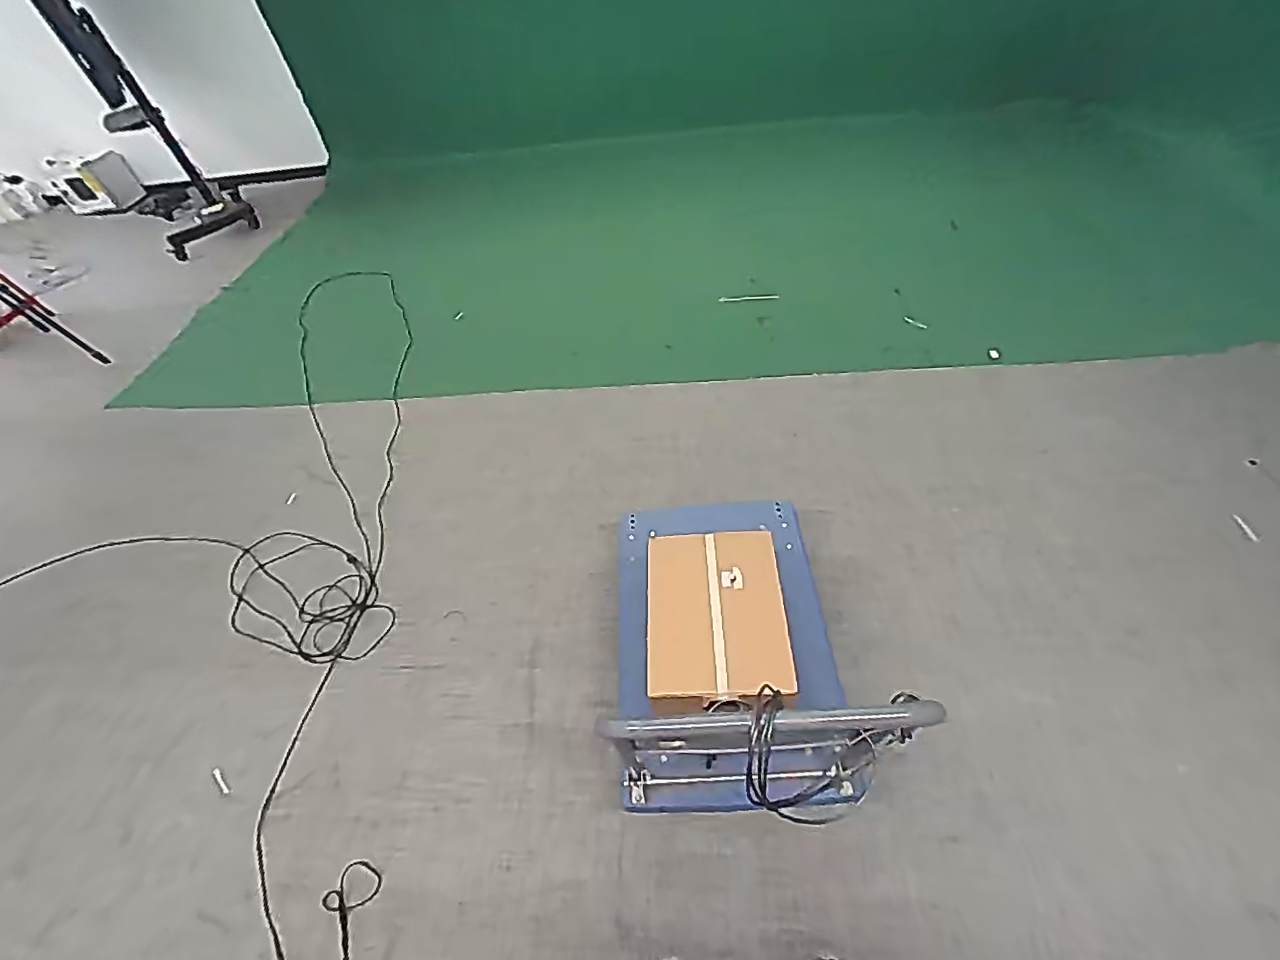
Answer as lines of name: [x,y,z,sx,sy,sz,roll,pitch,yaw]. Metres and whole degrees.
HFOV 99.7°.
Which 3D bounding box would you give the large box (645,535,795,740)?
large box: [0.185,0.396,1.360,0.320,0.320,0.408,-3,49,5]
